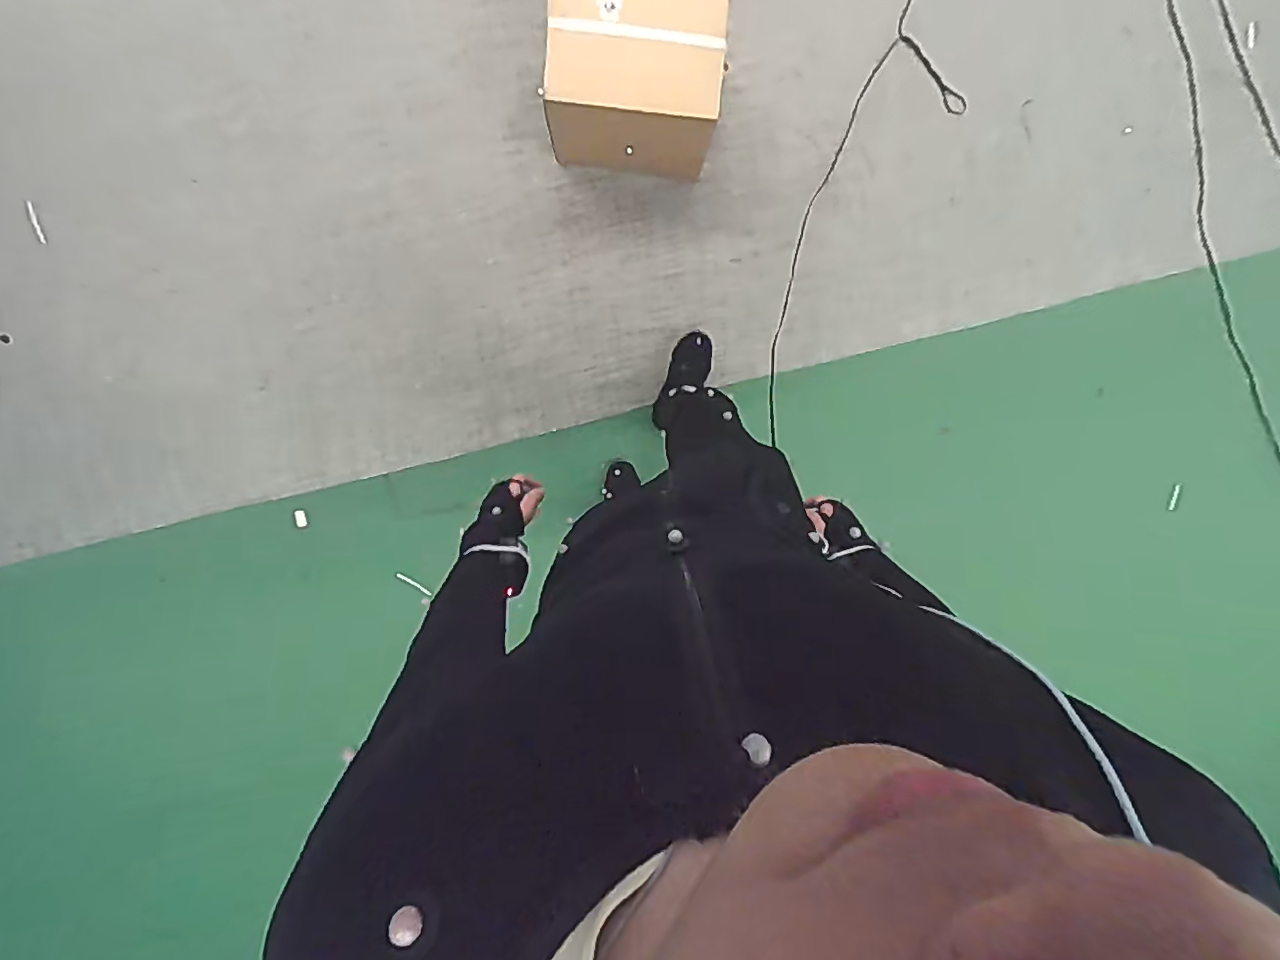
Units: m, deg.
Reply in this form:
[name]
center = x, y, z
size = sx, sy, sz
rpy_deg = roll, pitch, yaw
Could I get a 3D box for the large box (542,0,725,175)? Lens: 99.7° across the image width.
[large box]
center = -0.016, -1.006, 1.365
size = 0.408, 0.320, 0.320
rpy_deg = 5, 96, -2
